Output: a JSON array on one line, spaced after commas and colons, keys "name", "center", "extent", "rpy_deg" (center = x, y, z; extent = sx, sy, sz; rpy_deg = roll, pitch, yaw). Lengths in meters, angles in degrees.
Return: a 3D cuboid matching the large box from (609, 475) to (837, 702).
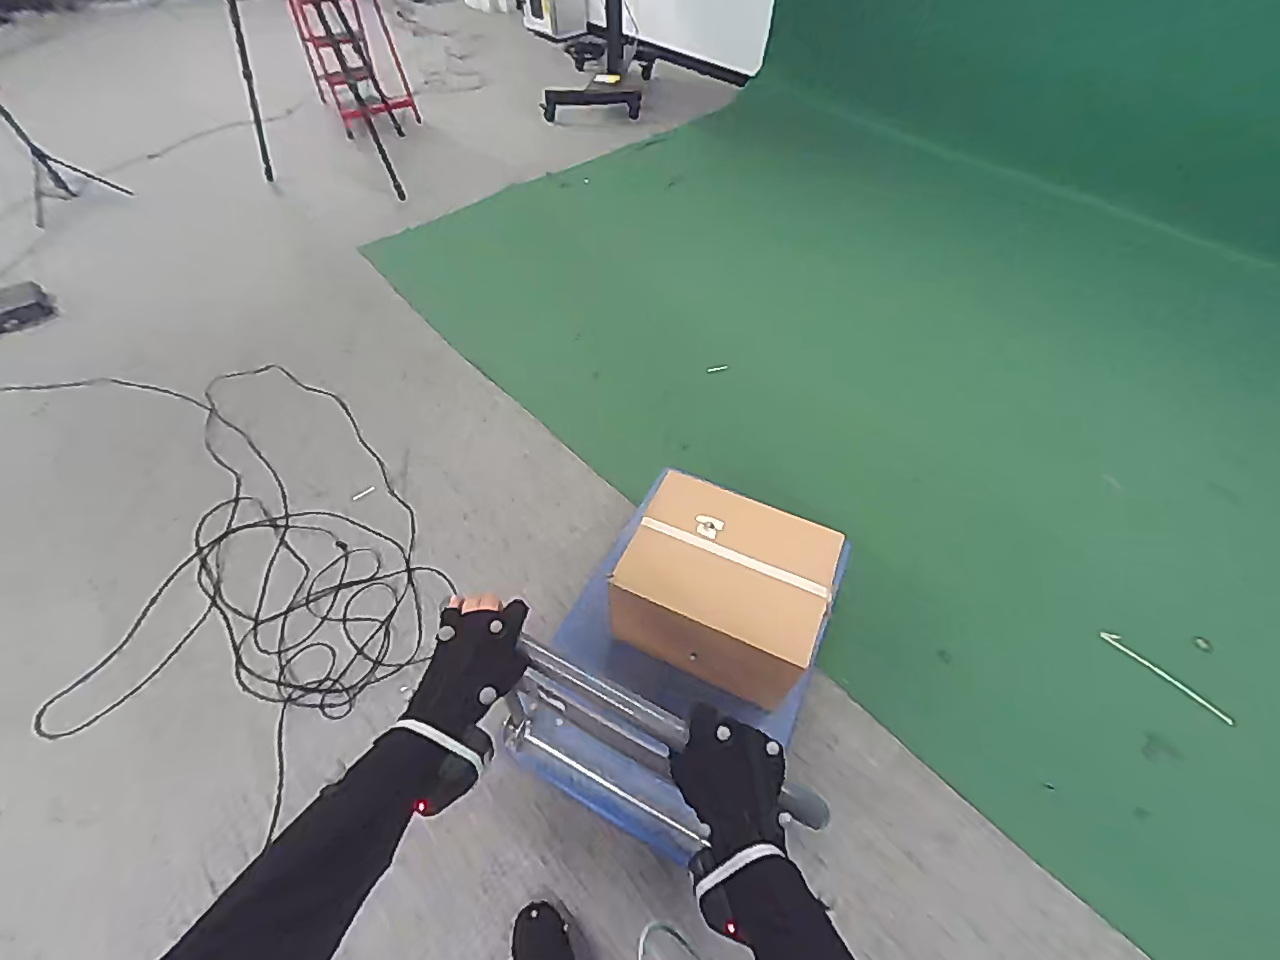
[{"name": "large box", "center": [0.182, 0.249, 1.235], "extent": [0.408, 0.320, 0.320], "rpy_deg": [20, 55, 15]}]
